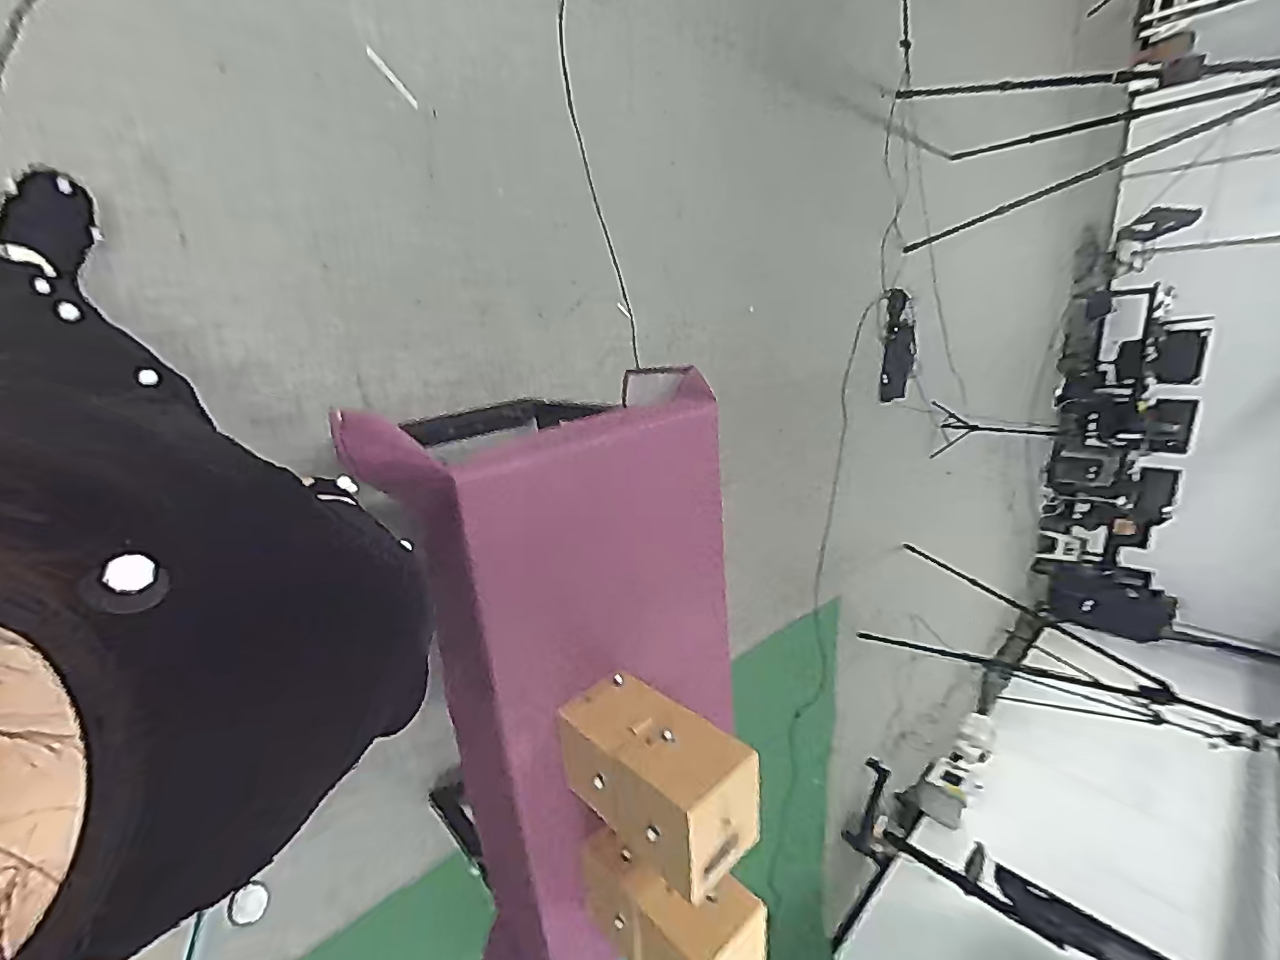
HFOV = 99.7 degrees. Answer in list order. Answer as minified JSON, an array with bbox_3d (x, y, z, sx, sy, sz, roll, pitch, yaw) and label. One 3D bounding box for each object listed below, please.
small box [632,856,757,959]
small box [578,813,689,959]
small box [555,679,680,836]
[{"bbox_3d":[0.099,0.845,0.998,0.168,0.176,0.179,-15,109,-40],"label":"small box"},{"bbox_3d":[-0.016,0.821,1.112,0.168,0.176,0.179,-12,107,-41],"label":"small box"},{"bbox_3d":[-0.044,0.500,1.012,0.168,0.176,0.179,-20,113,-39],"label":"small box"}]
